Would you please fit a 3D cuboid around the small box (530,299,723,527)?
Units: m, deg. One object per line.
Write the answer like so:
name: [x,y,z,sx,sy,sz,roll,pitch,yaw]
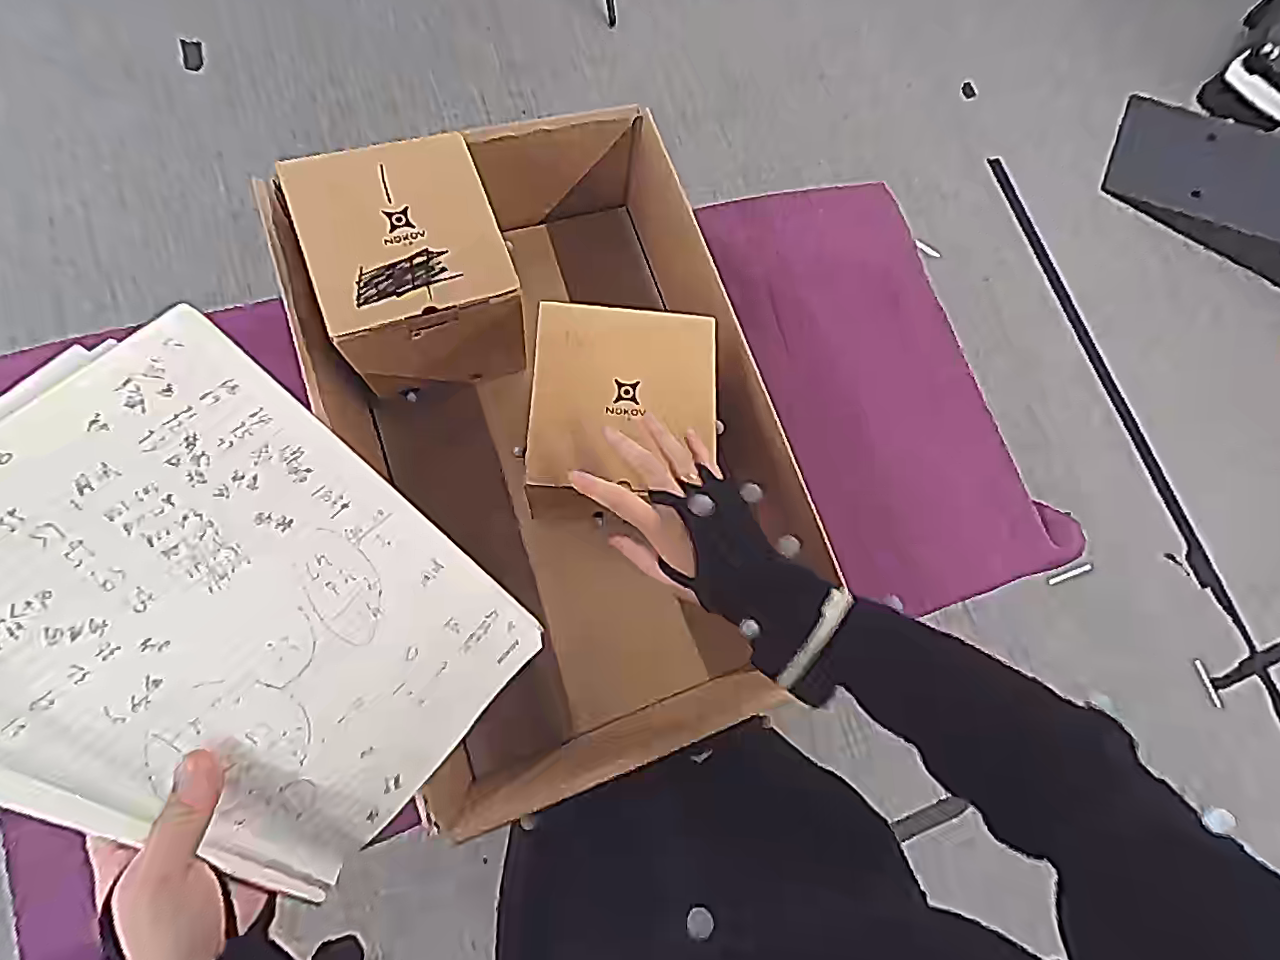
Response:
small box: [-0.020,-0.054,0.548,0.168,0.176,0.179,3,77,-8]
